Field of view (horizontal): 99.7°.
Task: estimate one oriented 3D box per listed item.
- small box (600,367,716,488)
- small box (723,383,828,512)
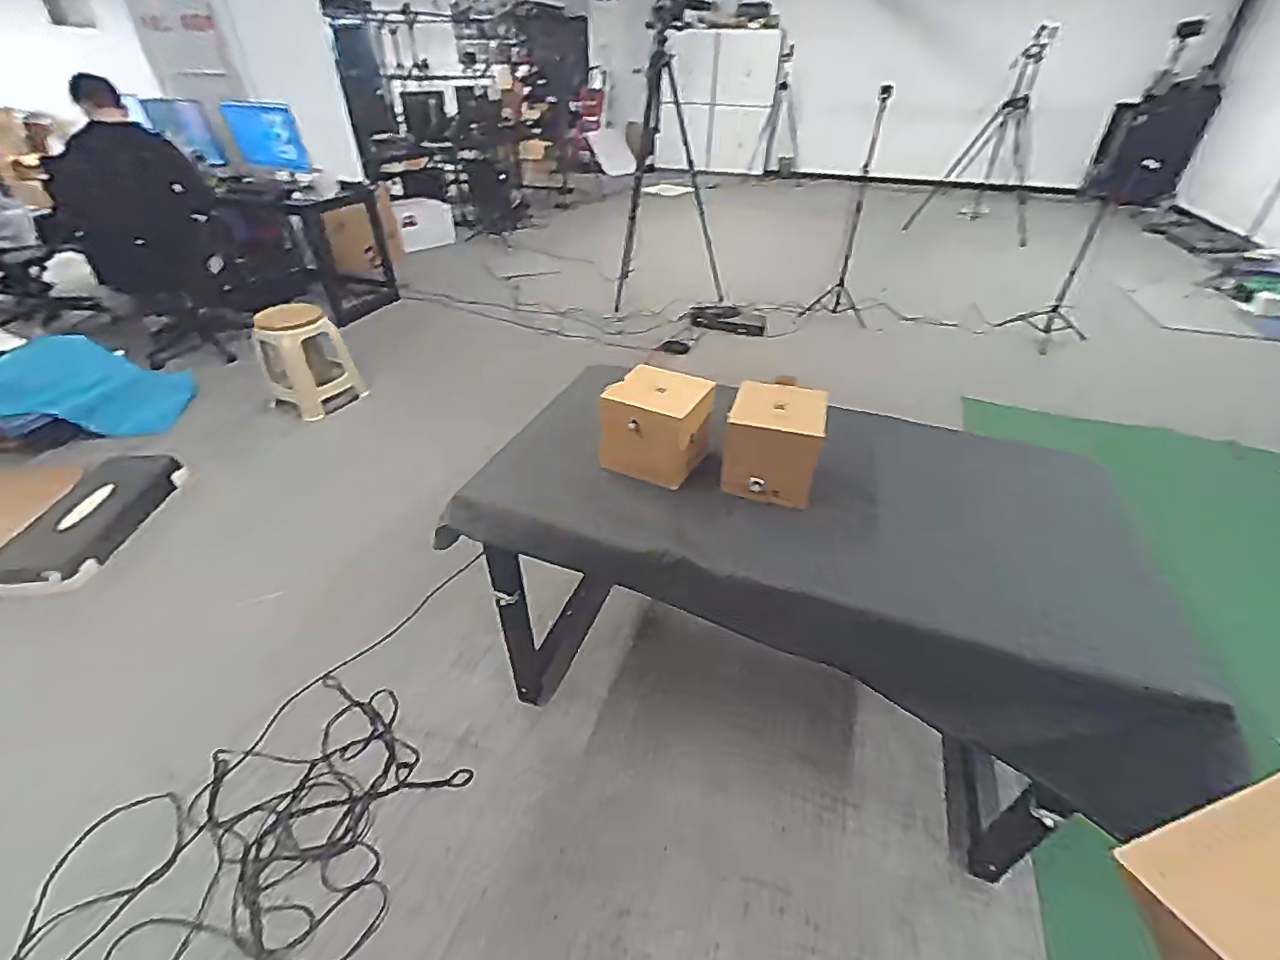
[{"bbox_3d":[0.037,-0.105,1.093,0.179,0.176,0.168,18,40,22],"label":"small box"},{"bbox_3d":[0.260,-0.065,1.049,0.168,0.176,0.179,10,38,14],"label":"small box"}]
